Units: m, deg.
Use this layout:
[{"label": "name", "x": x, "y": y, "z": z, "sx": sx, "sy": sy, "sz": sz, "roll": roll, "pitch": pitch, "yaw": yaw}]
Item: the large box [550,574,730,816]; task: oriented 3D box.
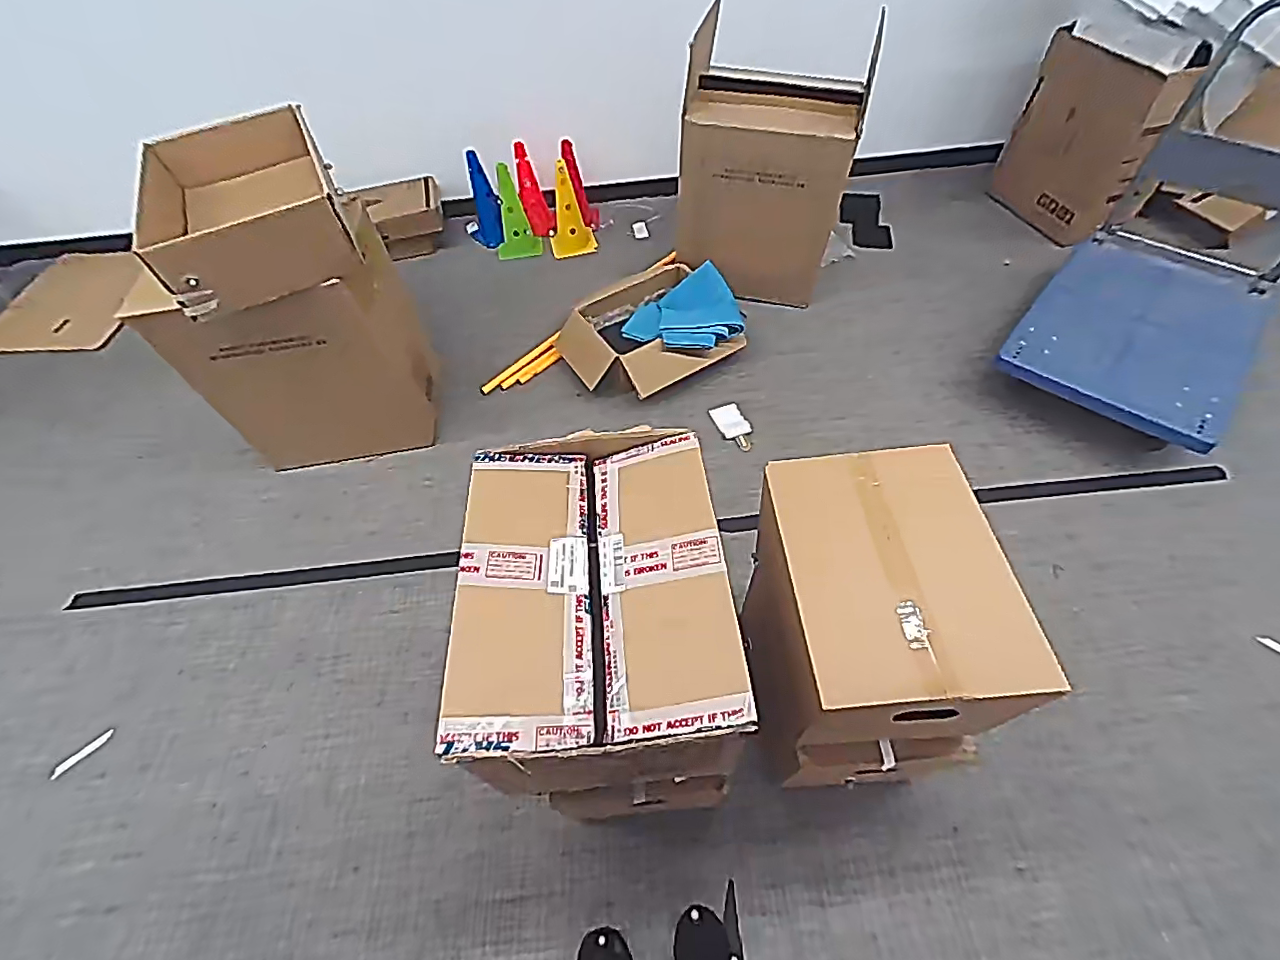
[{"label": "large box", "x": -0.011, "y": 0.463, "z": 1.163, "sx": 0.320, "sy": 0.320, "sz": 0.408, "roll": -7, "pitch": 55, "yaw": 0}]
